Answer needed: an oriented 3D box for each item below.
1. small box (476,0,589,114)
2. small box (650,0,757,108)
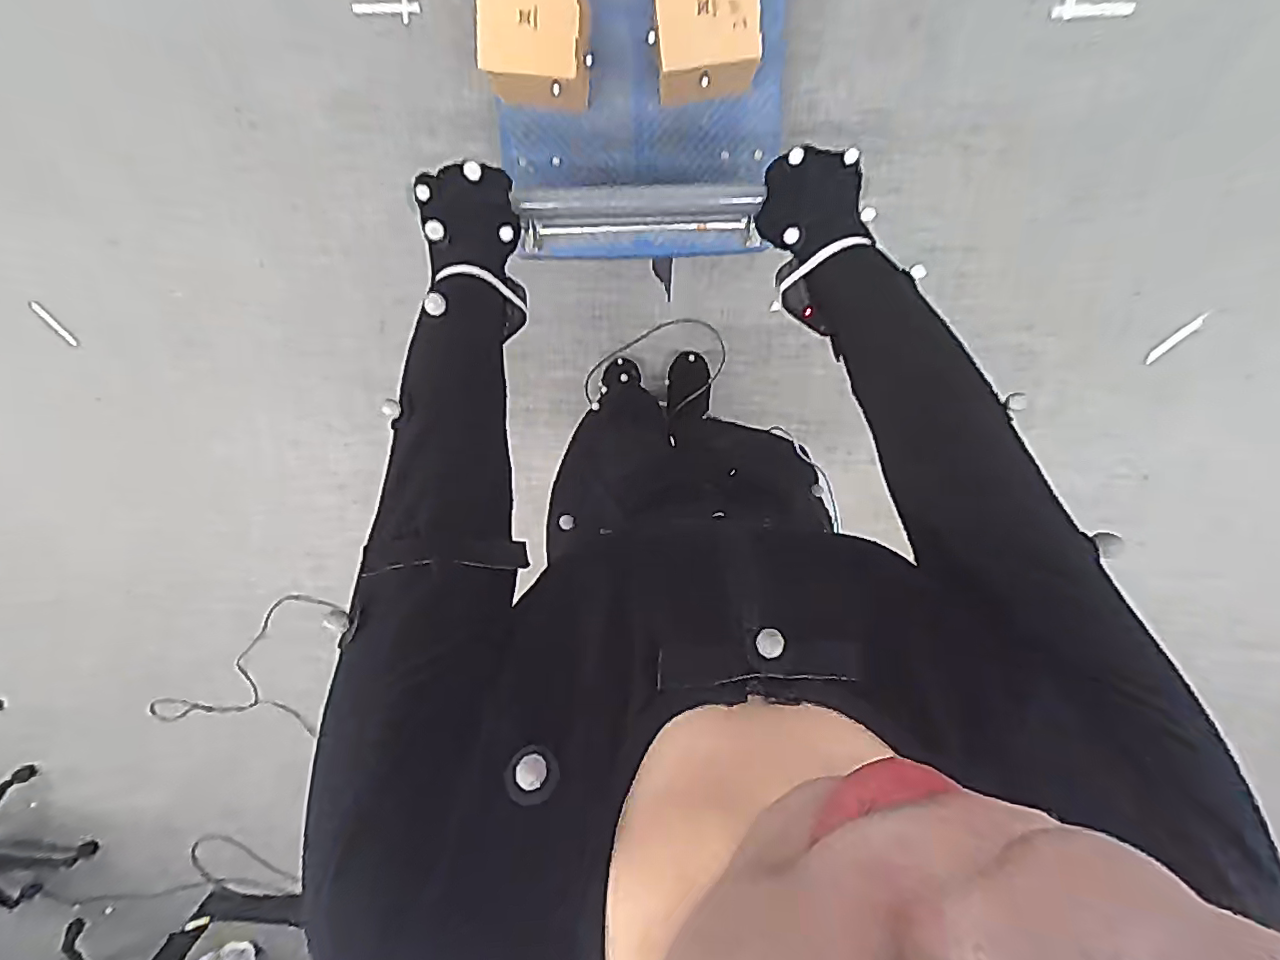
[{"bbox_3d":[-0.194,-0.808,1.008,0.179,0.176,0.168,4,107,-1],"label":"small box"},{"bbox_3d":[0.112,-0.815,0.997,0.179,0.176,0.168,-6,107,4],"label":"small box"}]
